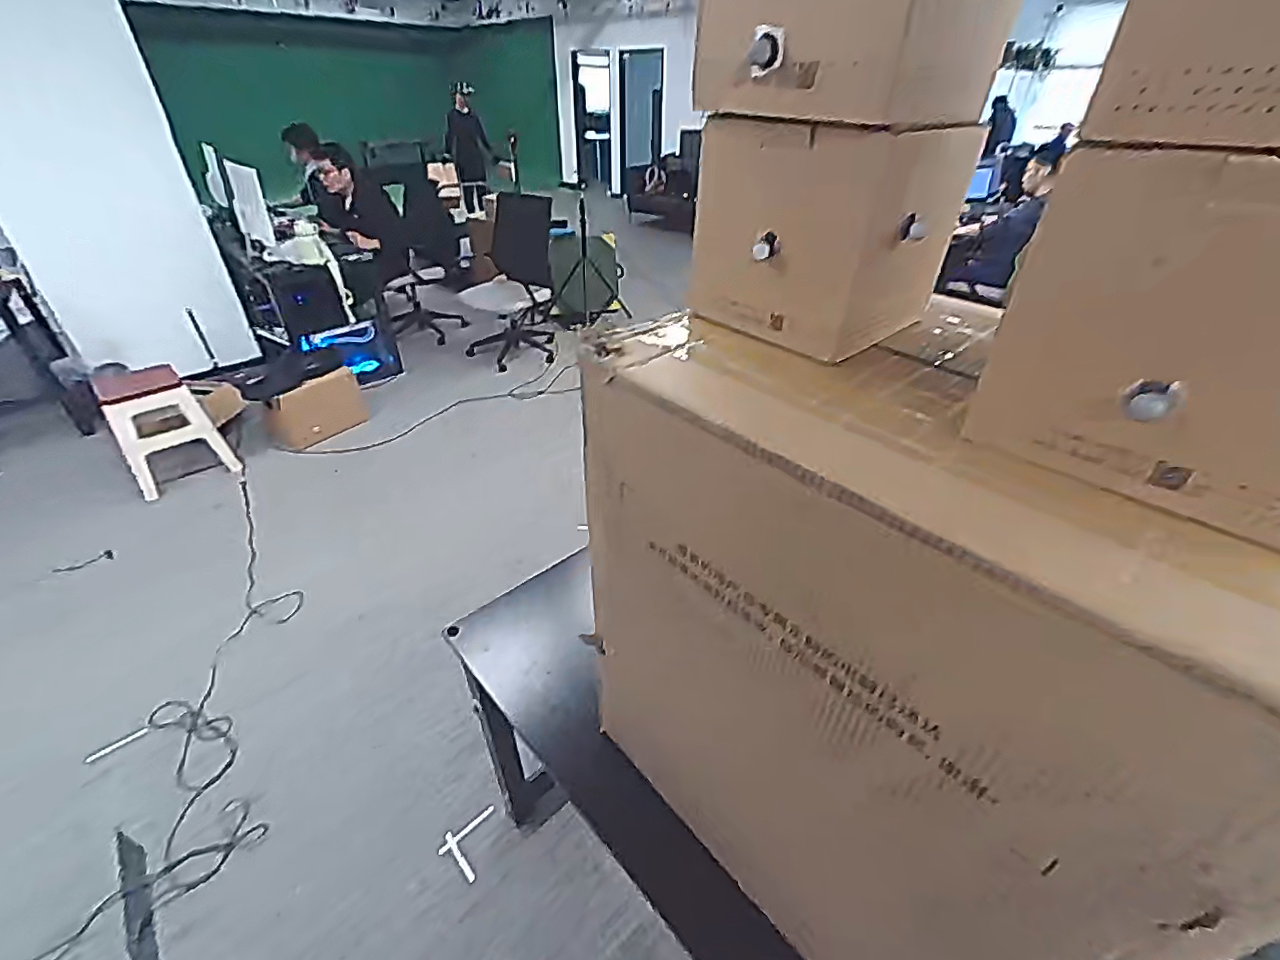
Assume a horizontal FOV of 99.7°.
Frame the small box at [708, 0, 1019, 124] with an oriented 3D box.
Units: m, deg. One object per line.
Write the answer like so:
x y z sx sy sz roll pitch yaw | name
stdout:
0.163 -0.360 0.383 0.179 0.176 0.168 -30 46 -35 | small box

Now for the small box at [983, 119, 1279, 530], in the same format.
0.332 -0.102 0.307 0.179 0.176 0.168 -28 43 -33 | small box

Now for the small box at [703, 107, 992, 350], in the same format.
0.170 -0.233 0.487 0.179 0.176 0.168 -29 47 -34 | small box
